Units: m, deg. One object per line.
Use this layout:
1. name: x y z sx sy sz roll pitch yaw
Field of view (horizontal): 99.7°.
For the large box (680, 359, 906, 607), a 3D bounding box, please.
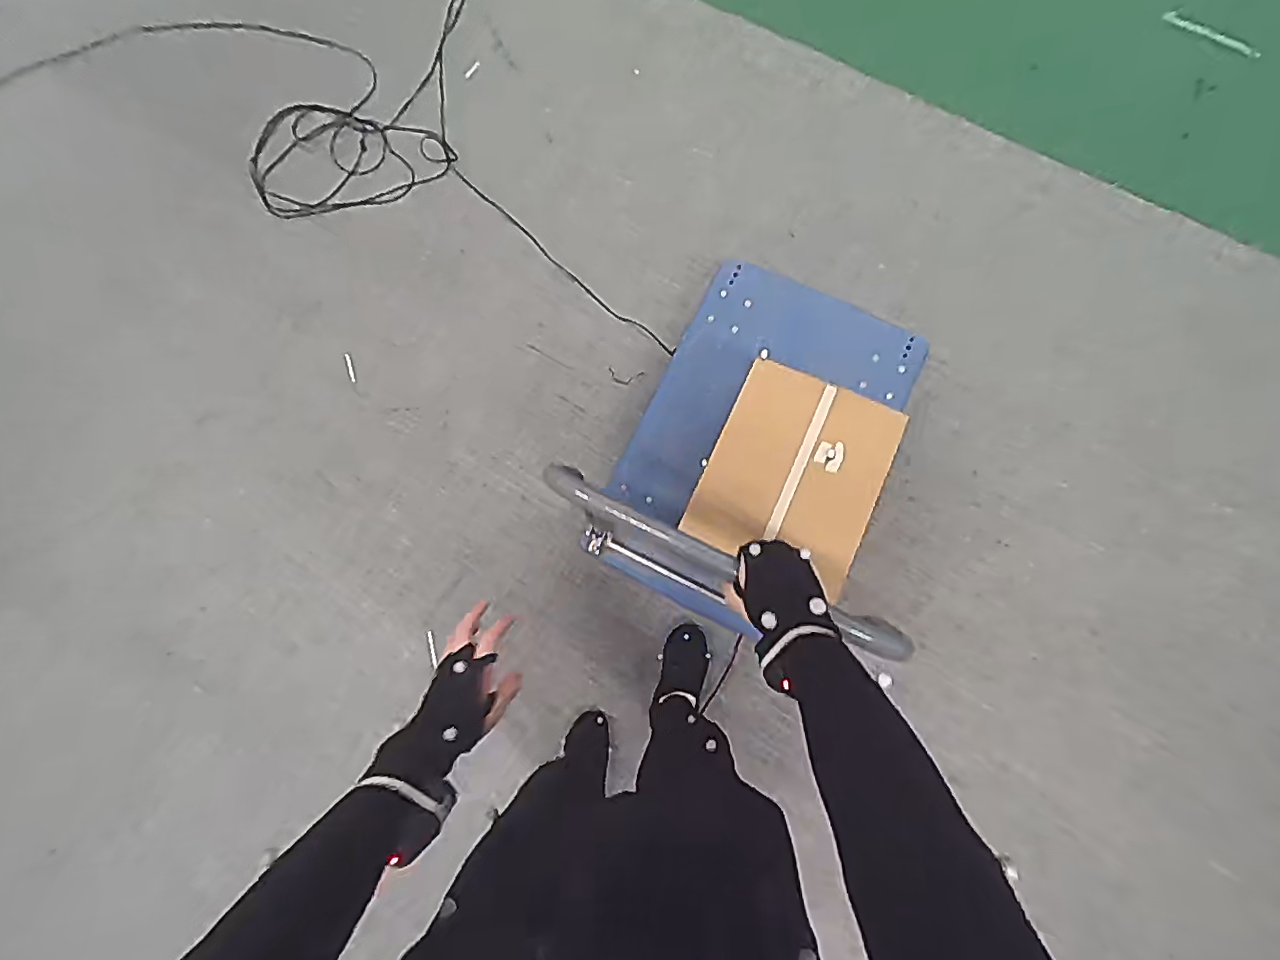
1. large box: 0.301 0.028 1.163 0.320 0.320 0.408 25 80 7
